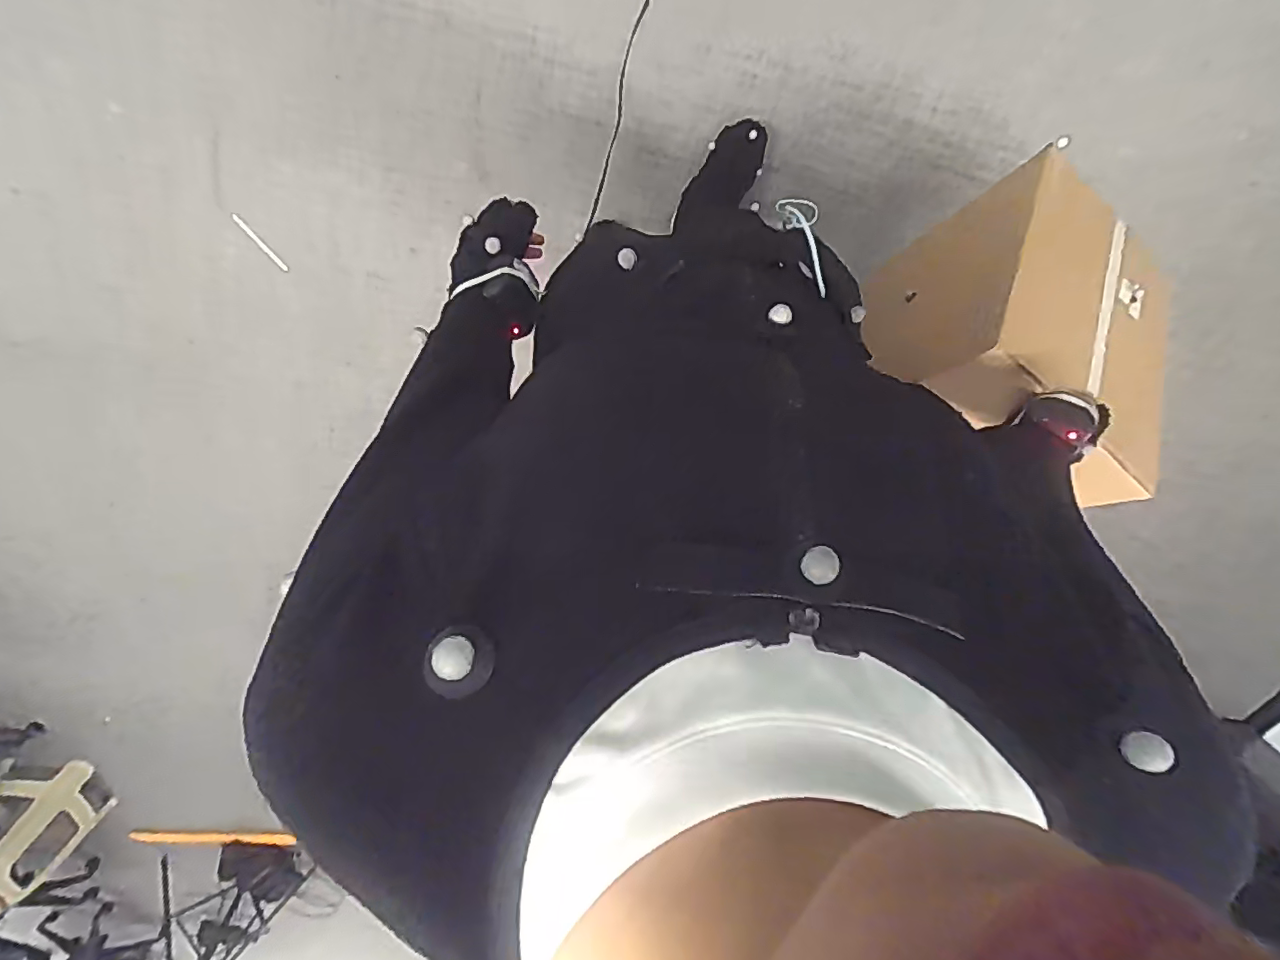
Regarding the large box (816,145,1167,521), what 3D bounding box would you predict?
[{"bbox_3d":[0.541,-0.197,0.850,0.320,0.408,0.320,35,156,-15],"label":"large box"}]
